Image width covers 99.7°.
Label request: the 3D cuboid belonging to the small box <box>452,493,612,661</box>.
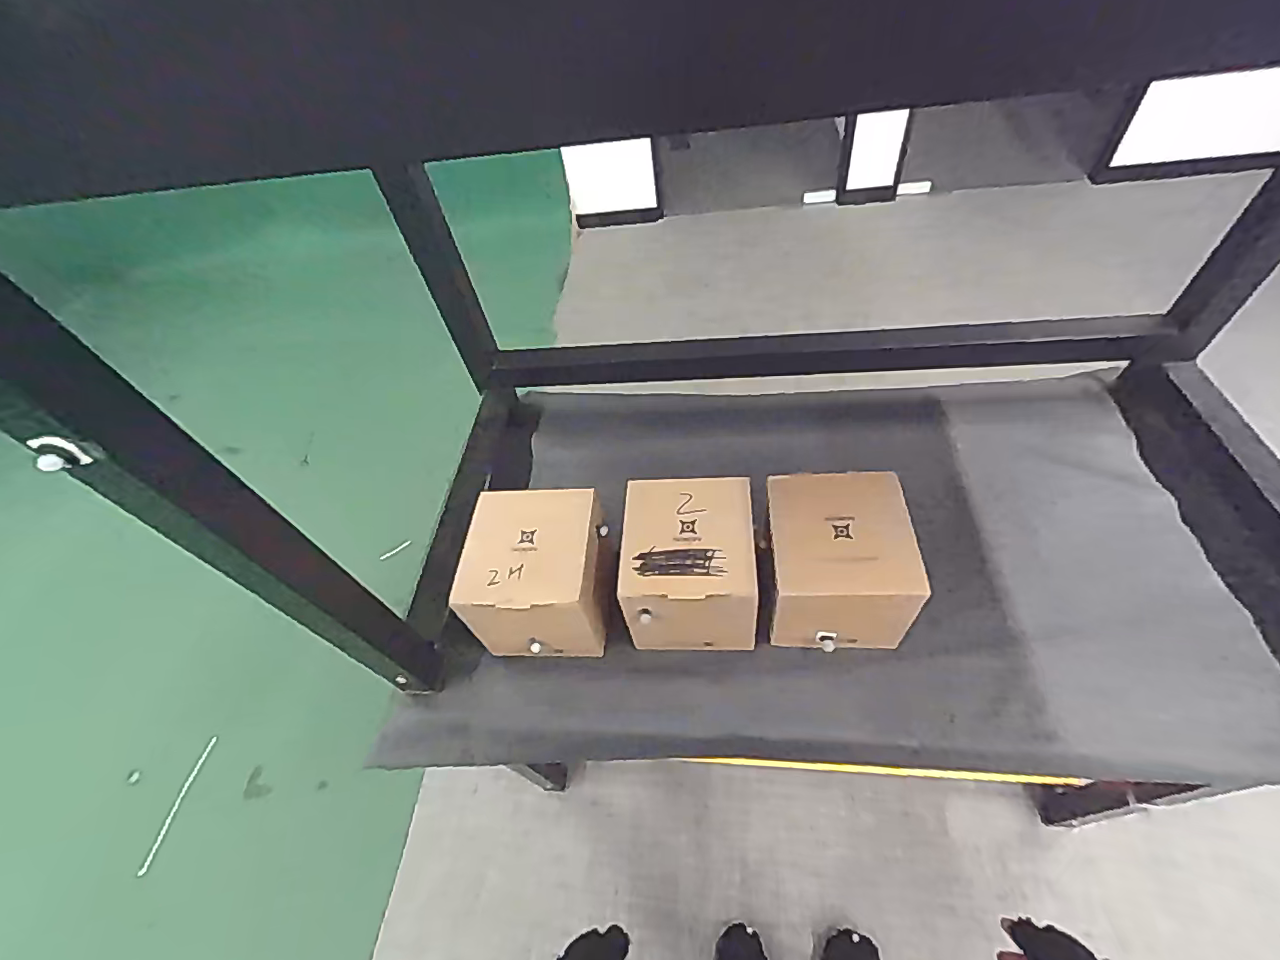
[{"bbox_3d":[-0.135,0.137,0.760,0.168,0.176,0.179,-2,51,7],"label":"small box"}]
